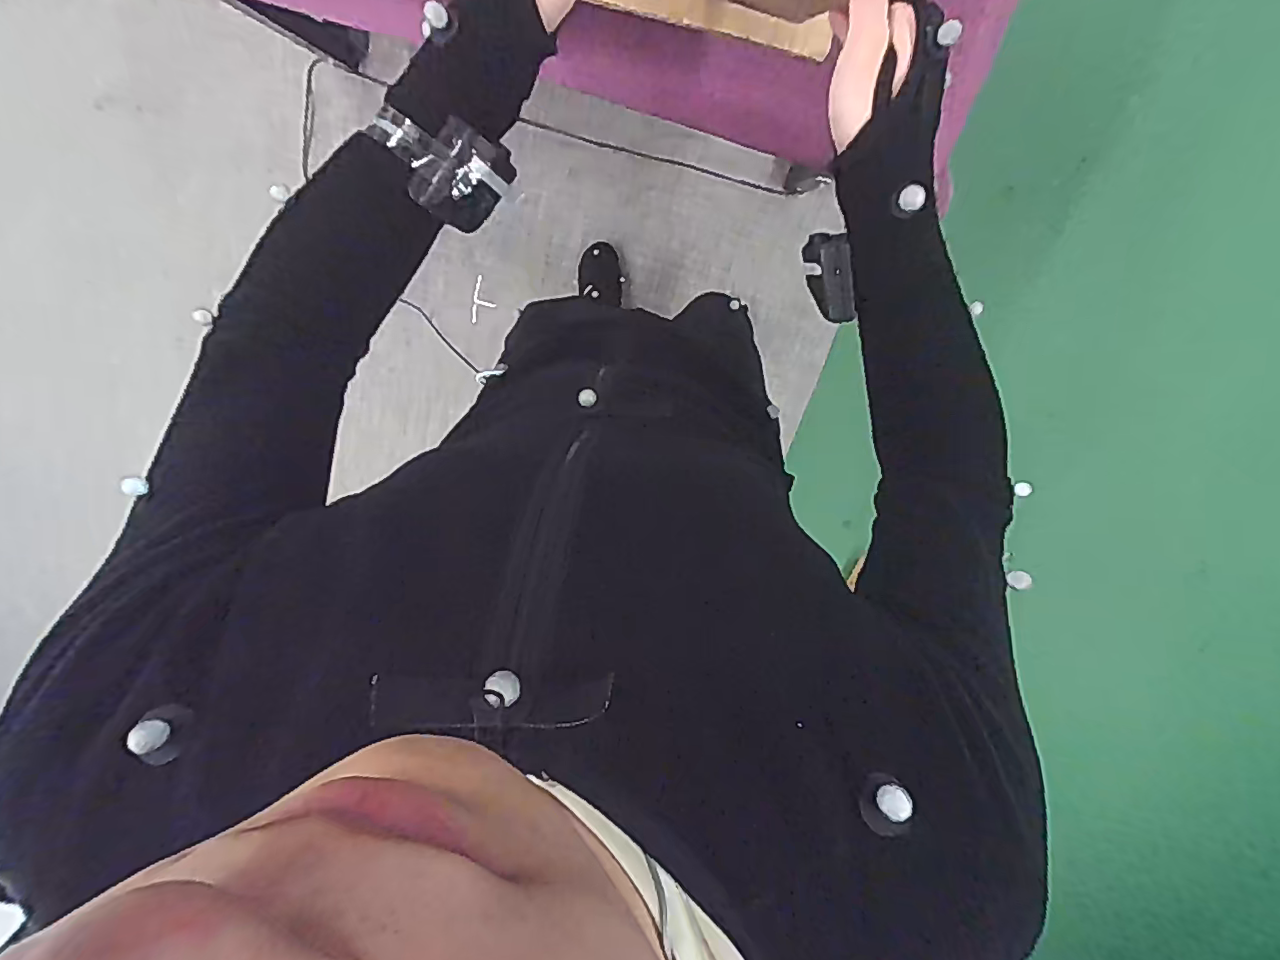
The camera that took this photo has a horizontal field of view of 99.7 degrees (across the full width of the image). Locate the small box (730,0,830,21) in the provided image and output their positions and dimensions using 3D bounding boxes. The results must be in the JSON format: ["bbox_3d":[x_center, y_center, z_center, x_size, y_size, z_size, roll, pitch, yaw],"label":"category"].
[{"bbox_3d":[0.083,-0.432,0.345,0.168,0.176,0.179,10,122,-10],"label":"small box"}]
